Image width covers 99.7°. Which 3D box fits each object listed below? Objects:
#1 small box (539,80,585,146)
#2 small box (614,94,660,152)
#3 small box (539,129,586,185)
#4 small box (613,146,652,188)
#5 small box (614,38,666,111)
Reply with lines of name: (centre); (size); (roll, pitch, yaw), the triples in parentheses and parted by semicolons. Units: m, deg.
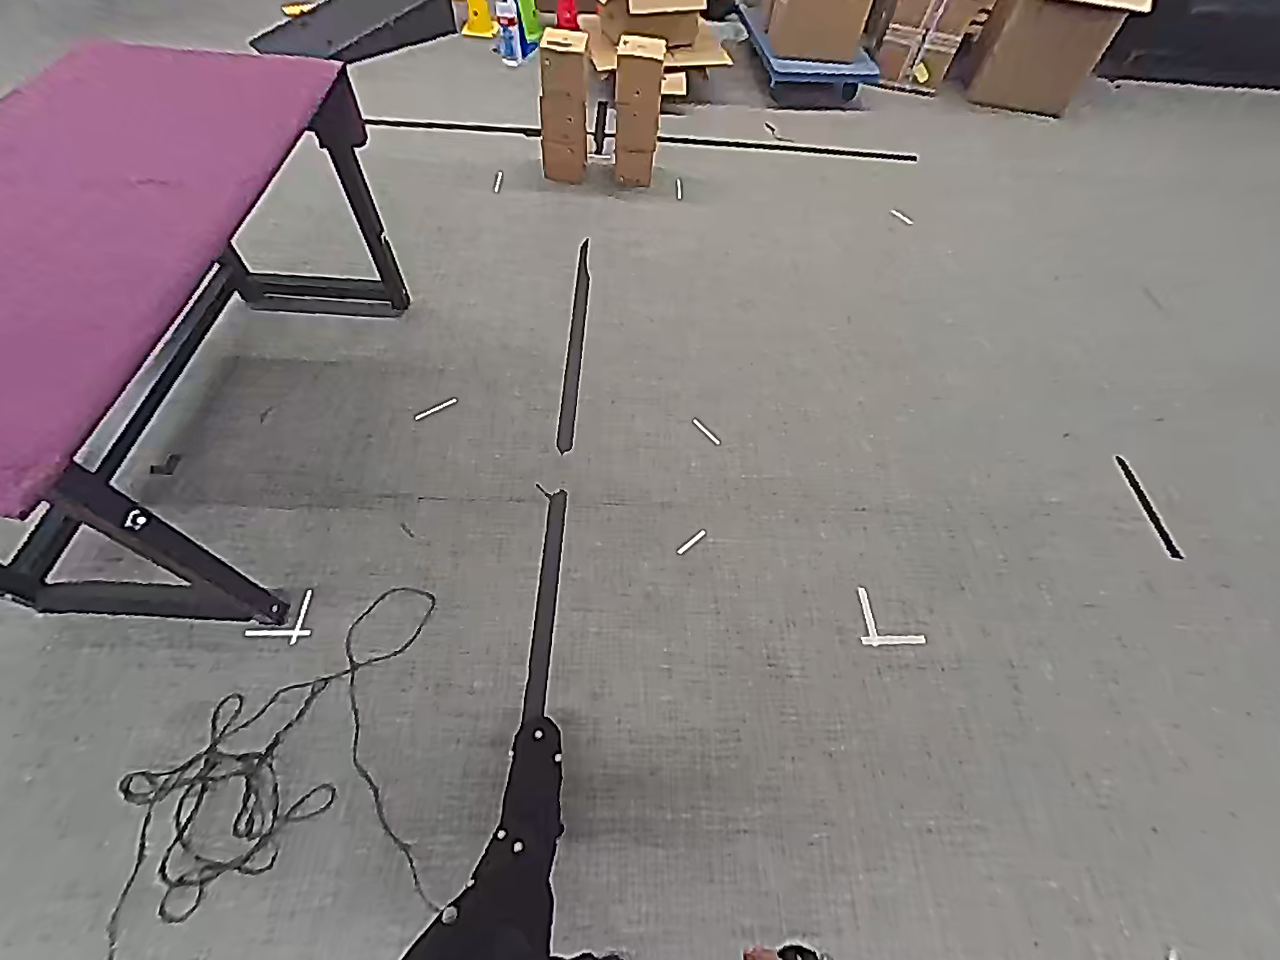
small box: (-0.319, -1.518, 2.243); (0.168, 0.176, 0.179); (7, 57, -3)
small box: (-0.015, -1.496, 2.252); (0.179, 0.176, 0.168); (4, 59, -3)
small box: (-0.335, -1.427, 2.376); (0.179, 0.176, 0.168); (7, 58, -1)
small box: (-0.032, -1.426, 2.400); (0.168, 0.176, 0.179); (2, 58, -4)
small box: (-0.002, -1.578, 2.110); (0.179, 0.176, 0.168); (7, 59, -2)
